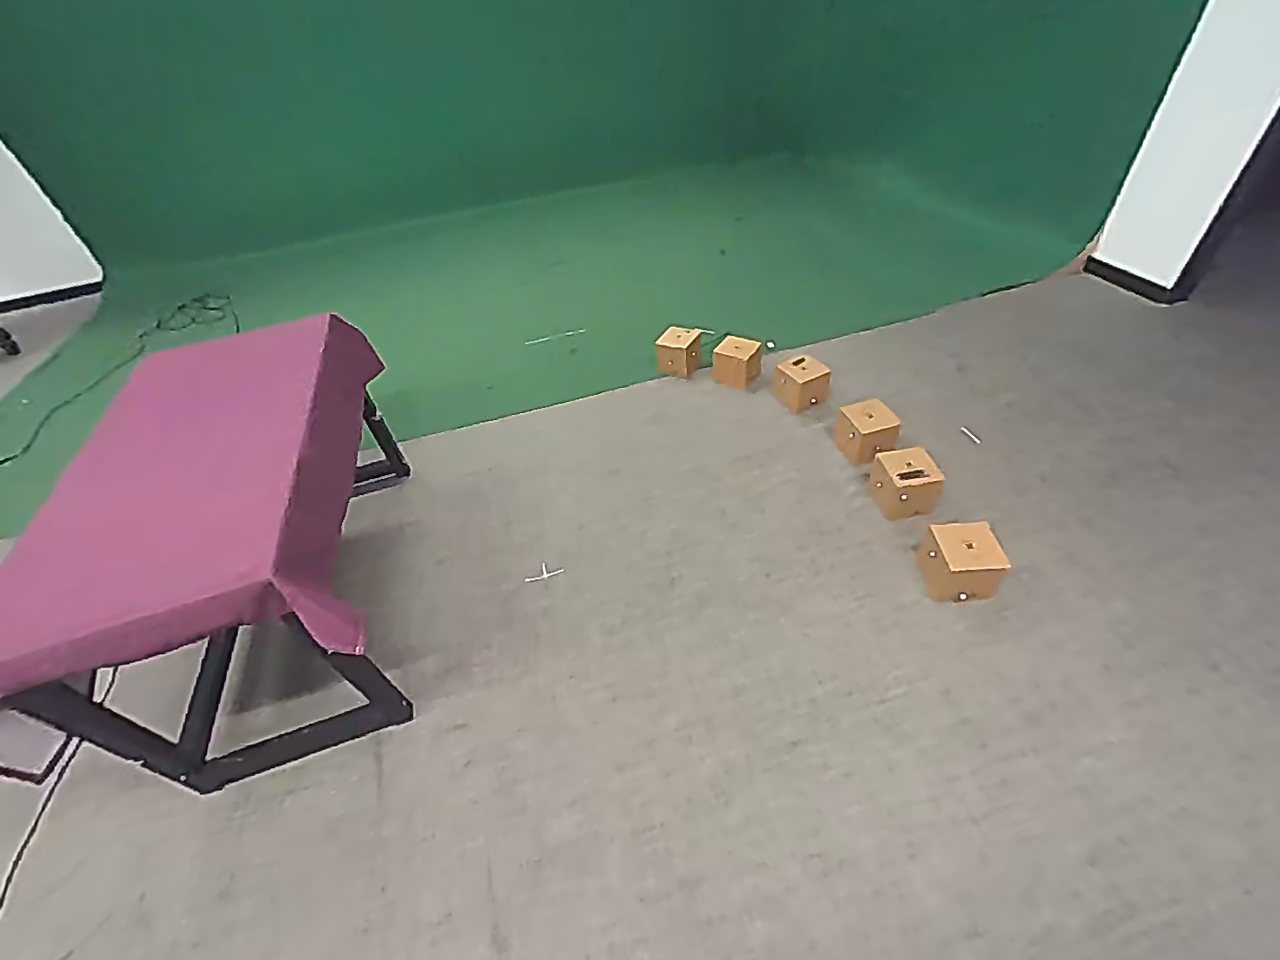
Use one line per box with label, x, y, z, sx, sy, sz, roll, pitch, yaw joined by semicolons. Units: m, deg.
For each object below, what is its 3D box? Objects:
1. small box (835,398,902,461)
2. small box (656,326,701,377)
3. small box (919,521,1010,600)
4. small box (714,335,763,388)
small box;0.882;-0.190;2.105;0.168;0.176;0.179;-14;44;-6
small box;0.198;-0.634;2.670;0.168;0.176;0.179;18;51;25
small box;0.977;0.247;1.647;0.168;0.176;0.179;-4;45;6
small box;0.462;-0.557;2.554;0.179;0.176;0.168;22;51;28
